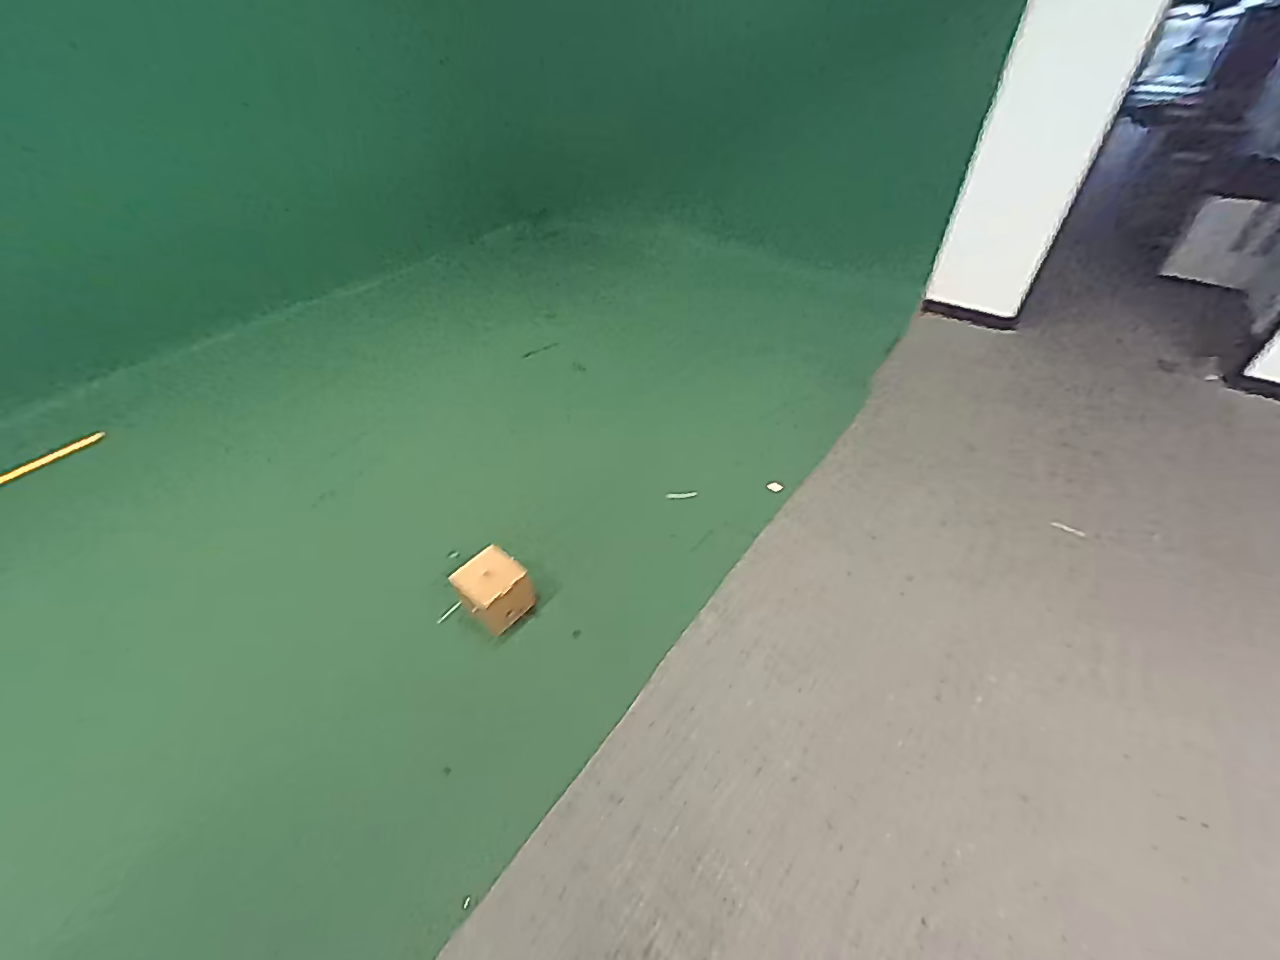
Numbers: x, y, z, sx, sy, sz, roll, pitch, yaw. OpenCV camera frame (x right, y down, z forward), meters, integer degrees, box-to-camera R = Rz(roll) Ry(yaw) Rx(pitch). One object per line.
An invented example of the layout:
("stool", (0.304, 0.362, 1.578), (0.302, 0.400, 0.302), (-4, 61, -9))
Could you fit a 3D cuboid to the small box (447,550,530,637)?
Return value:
("small box", (-0.471, 0.359, 1.698), (0.179, 0.176, 0.168), (30, 51, 28))
